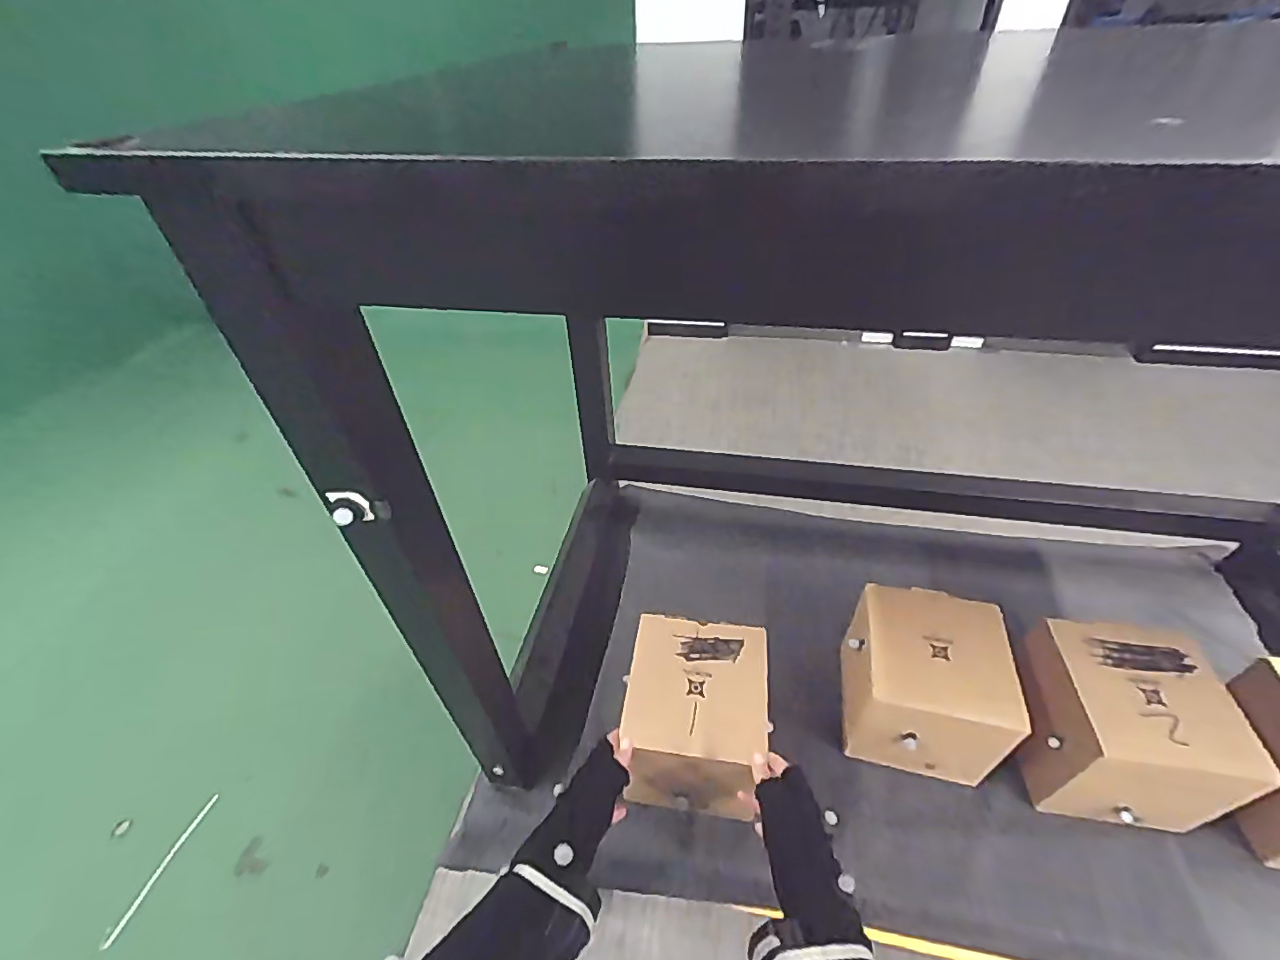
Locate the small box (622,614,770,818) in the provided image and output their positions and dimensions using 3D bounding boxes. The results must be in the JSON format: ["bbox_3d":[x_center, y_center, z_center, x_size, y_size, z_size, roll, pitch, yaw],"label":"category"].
[{"bbox_3d":[0.074,0.302,0.699,0.168,0.176,0.179,5,42,8],"label":"small box"}]

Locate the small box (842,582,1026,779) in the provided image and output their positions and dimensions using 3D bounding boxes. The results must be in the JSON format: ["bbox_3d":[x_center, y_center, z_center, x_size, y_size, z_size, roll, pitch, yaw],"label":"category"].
[{"bbox_3d":[0.374,0.269,0.726,0.168,0.176,0.179,8,42,13],"label":"small box"}]

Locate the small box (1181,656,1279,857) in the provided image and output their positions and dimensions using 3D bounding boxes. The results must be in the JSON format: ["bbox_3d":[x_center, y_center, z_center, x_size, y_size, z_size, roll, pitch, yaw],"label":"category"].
[{"bbox_3d":[0.806,0.333,0.623,0.168,0.176,0.179,5,42,8],"label":"small box"}]
